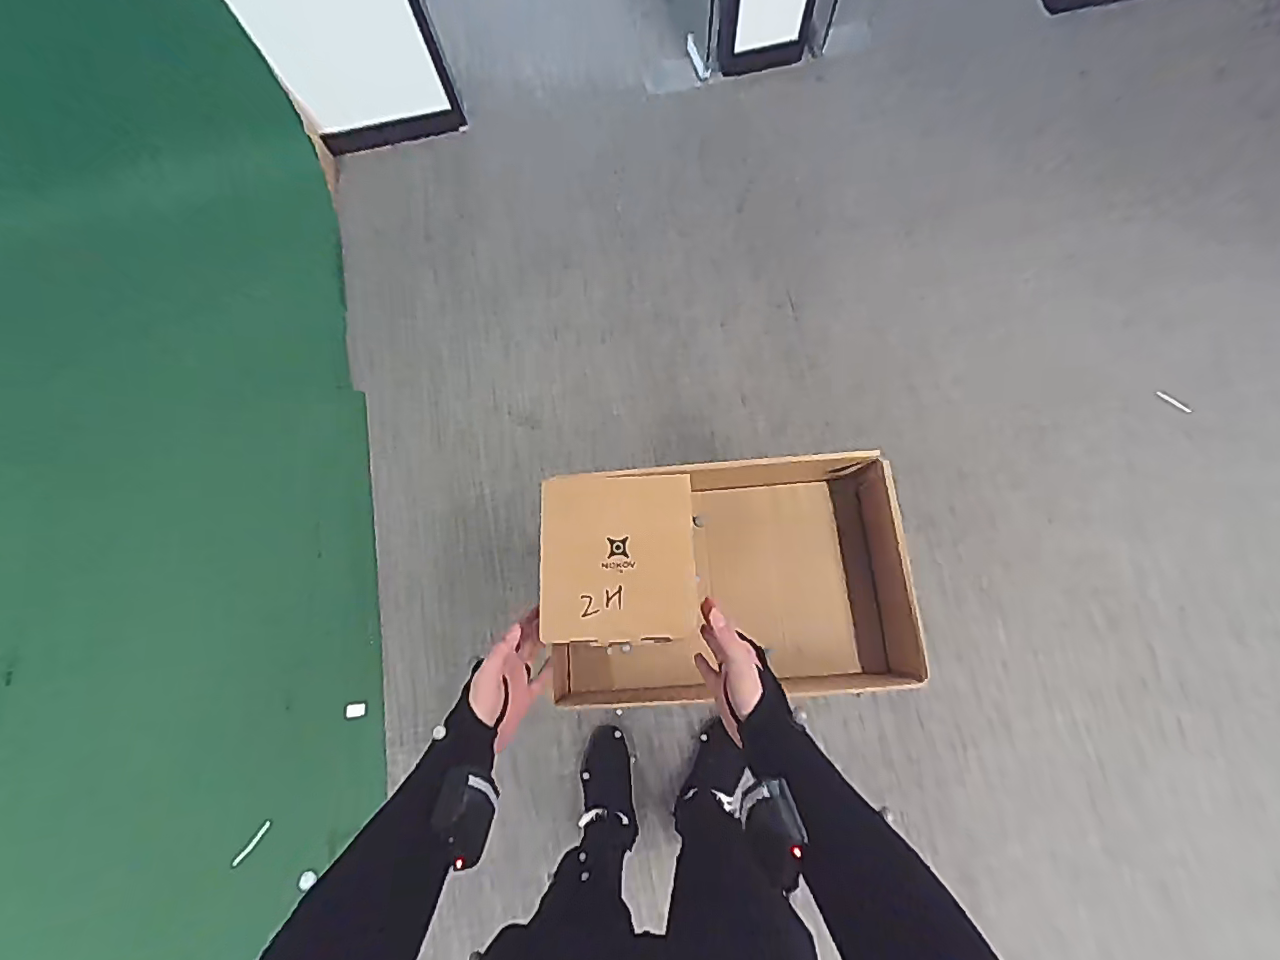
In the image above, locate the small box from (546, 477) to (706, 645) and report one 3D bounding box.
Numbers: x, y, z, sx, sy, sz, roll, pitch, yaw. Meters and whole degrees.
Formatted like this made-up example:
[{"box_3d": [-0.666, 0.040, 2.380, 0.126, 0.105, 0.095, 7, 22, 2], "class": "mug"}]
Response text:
[{"box_3d": [-0.013, 0.102, 0.642, 0.168, 0.176, 0.179, -2, 76, 2], "class": "small box"}]
